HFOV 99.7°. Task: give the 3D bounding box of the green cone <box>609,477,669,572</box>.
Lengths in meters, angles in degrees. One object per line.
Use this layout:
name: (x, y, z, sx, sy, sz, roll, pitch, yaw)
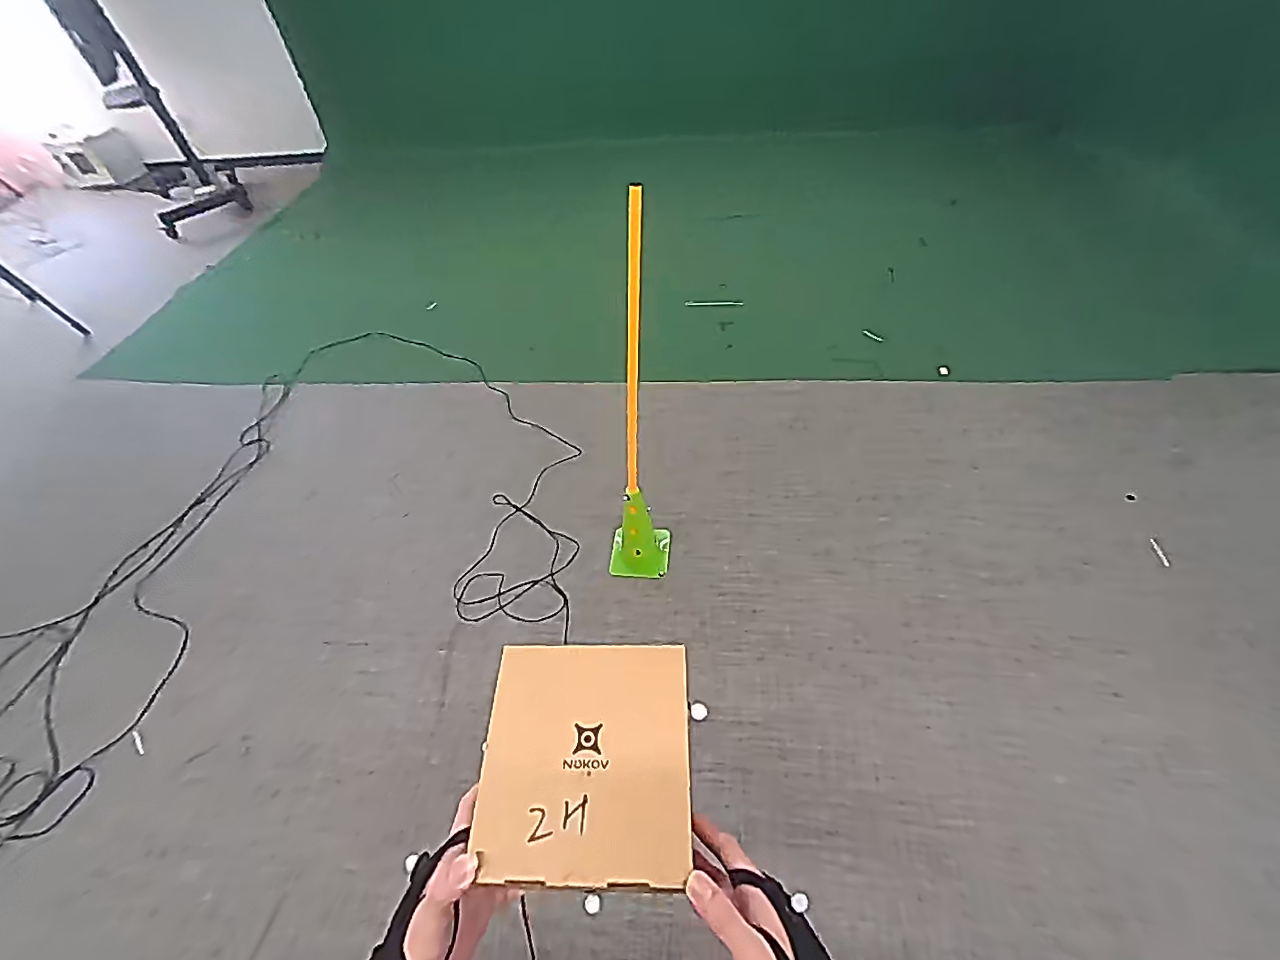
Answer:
green cone: (-0.016, 0.119, 1.762, 0.202, 0.368, 0.200, 1, 49, 8)
